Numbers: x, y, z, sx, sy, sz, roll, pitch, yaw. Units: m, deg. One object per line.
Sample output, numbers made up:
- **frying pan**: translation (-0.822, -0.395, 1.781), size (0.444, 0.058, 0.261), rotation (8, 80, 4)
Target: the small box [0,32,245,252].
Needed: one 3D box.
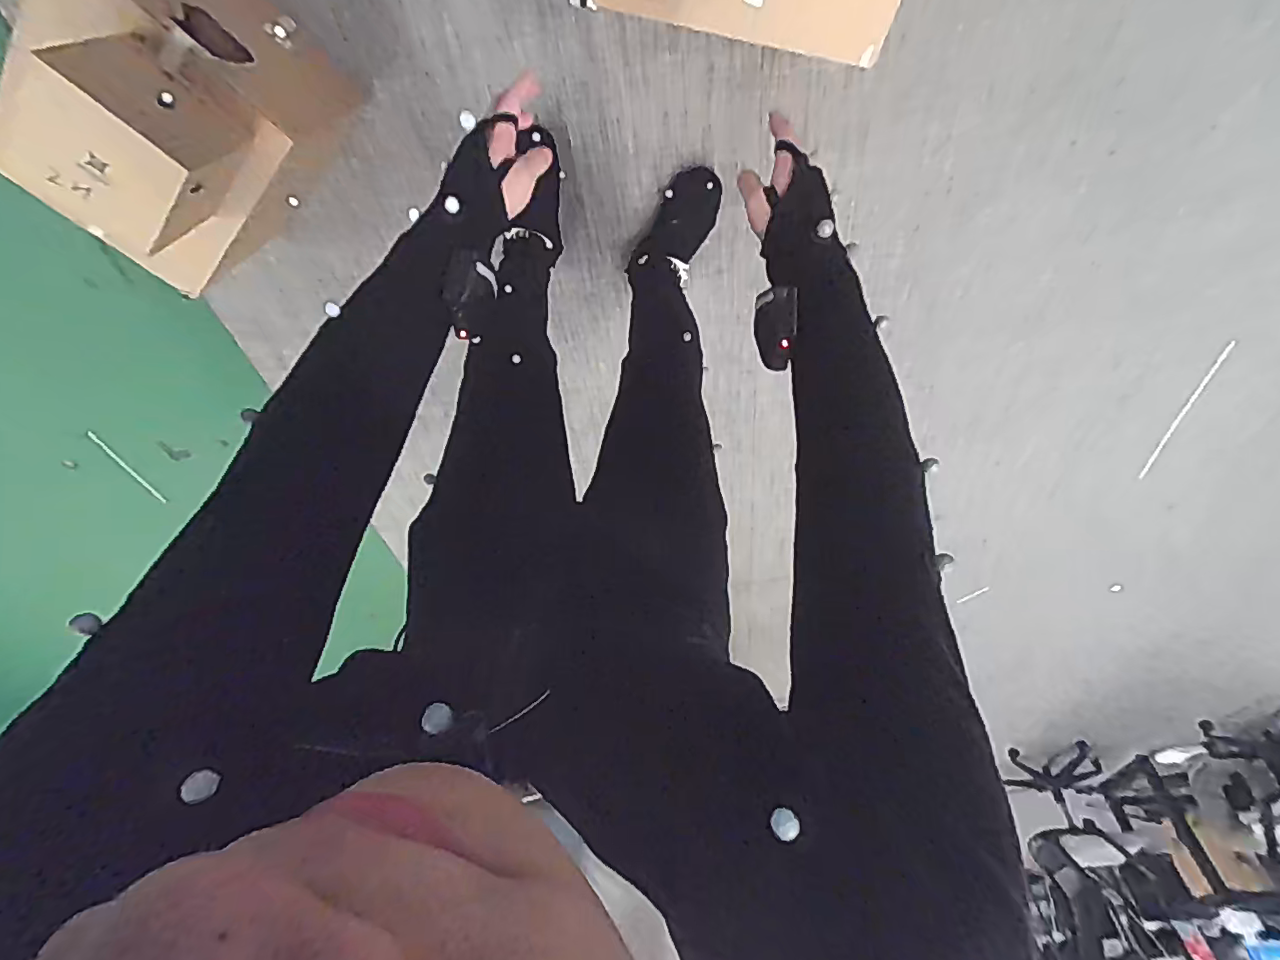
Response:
- **small box**: translation (-0.686, -0.460, 0.737), size (0.179, 0.176, 0.168), rotation (-31, 127, 29)

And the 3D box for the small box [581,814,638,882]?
- **small box**: translation (-0.099, 1.244, 1.829), size (0.168, 0.176, 0.179), rotation (-4, 136, 7)

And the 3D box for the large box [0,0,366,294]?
- **large box**: translation (-0.756, -0.620, 0.929), size (0.408, 0.320, 0.320), rotation (-30, 126, 29)
